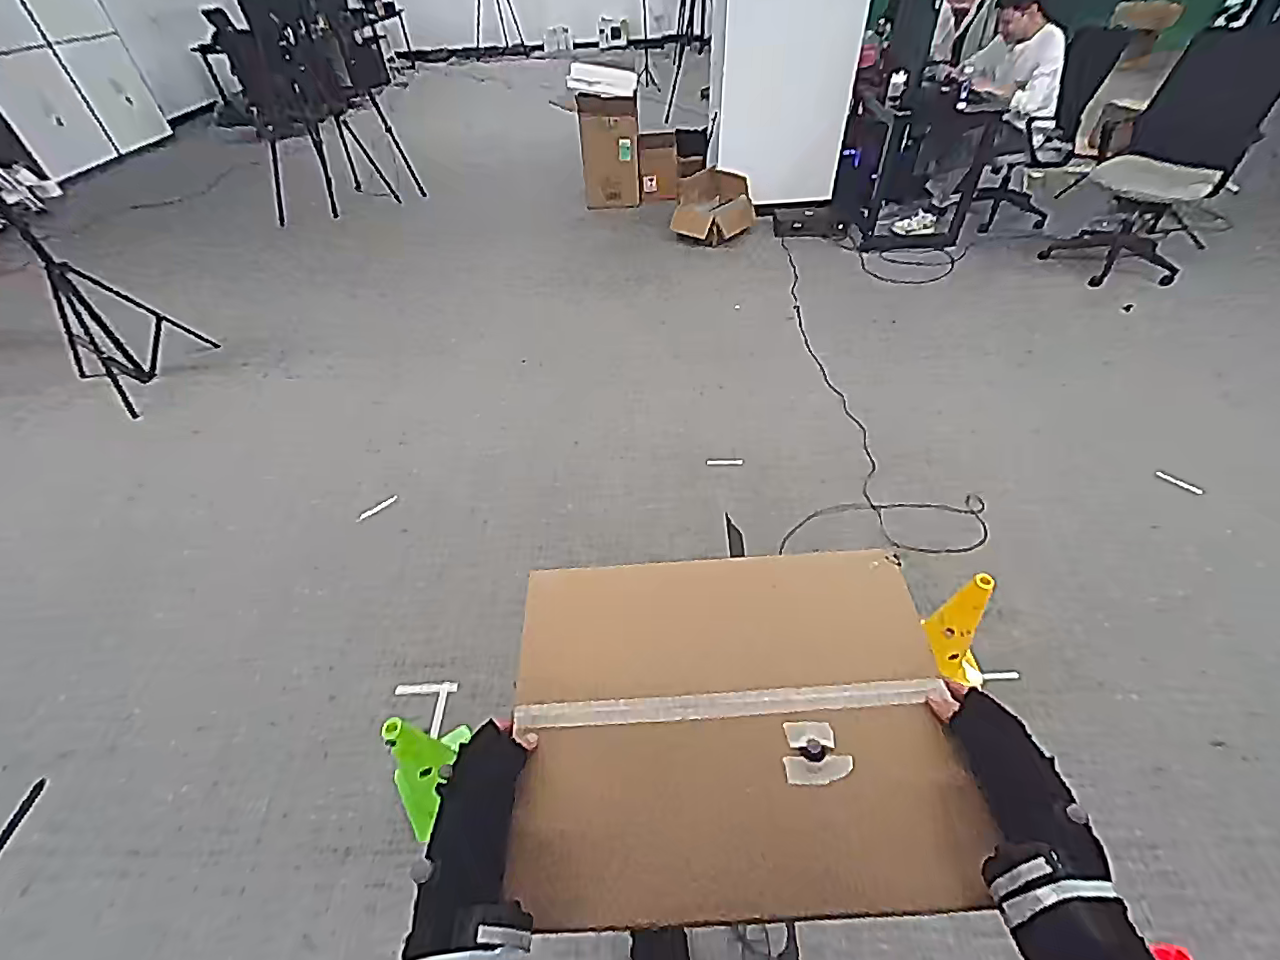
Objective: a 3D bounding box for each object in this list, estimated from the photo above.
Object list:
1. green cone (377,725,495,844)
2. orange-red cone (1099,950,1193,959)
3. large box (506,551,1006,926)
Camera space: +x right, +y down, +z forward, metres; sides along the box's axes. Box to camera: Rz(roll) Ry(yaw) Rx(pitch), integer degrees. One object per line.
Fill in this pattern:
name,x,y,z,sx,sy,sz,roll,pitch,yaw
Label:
green cone,-0.497,0.634,1.224,0.202,0.368,0.200,-31,50,-22
orange-red cone,0.982,0.877,0.879,0.198,0.360,0.199,-3,44,0
large box,0.089,0.307,0.630,0.408,0.320,0.320,-4,51,1
